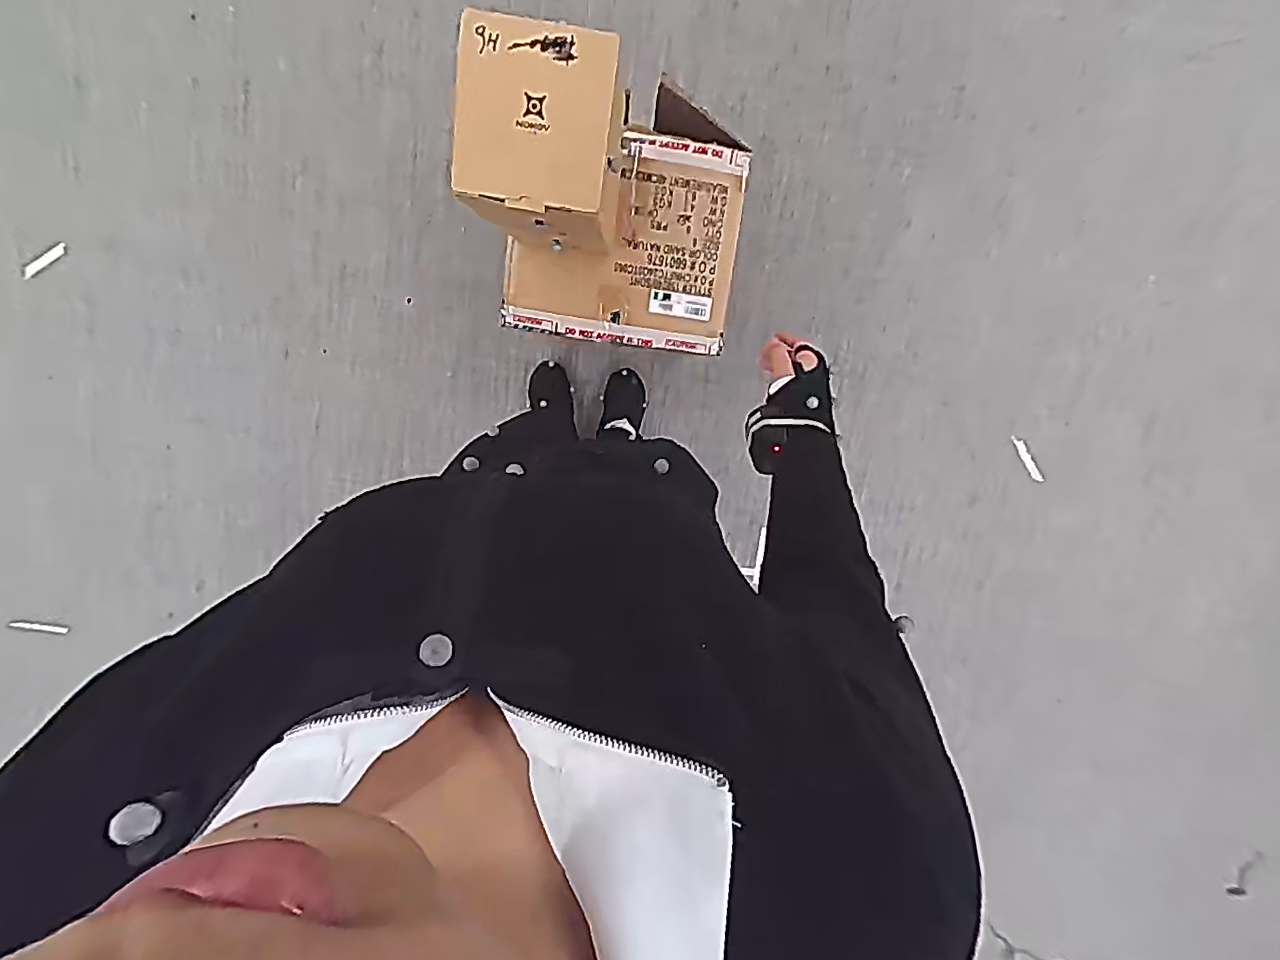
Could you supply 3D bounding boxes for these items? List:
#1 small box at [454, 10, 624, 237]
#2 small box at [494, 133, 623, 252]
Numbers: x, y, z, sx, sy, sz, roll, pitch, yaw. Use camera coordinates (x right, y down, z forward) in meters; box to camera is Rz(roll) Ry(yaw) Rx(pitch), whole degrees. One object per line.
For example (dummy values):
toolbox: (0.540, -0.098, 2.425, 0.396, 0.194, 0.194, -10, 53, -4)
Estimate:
small box: (-0.112, -0.406, 0.652, 0.168, 0.176, 0.179, 8, 105, -2)
small box: (-0.116, -0.456, 0.809, 0.168, 0.176, 0.179, 7, 105, -1)
